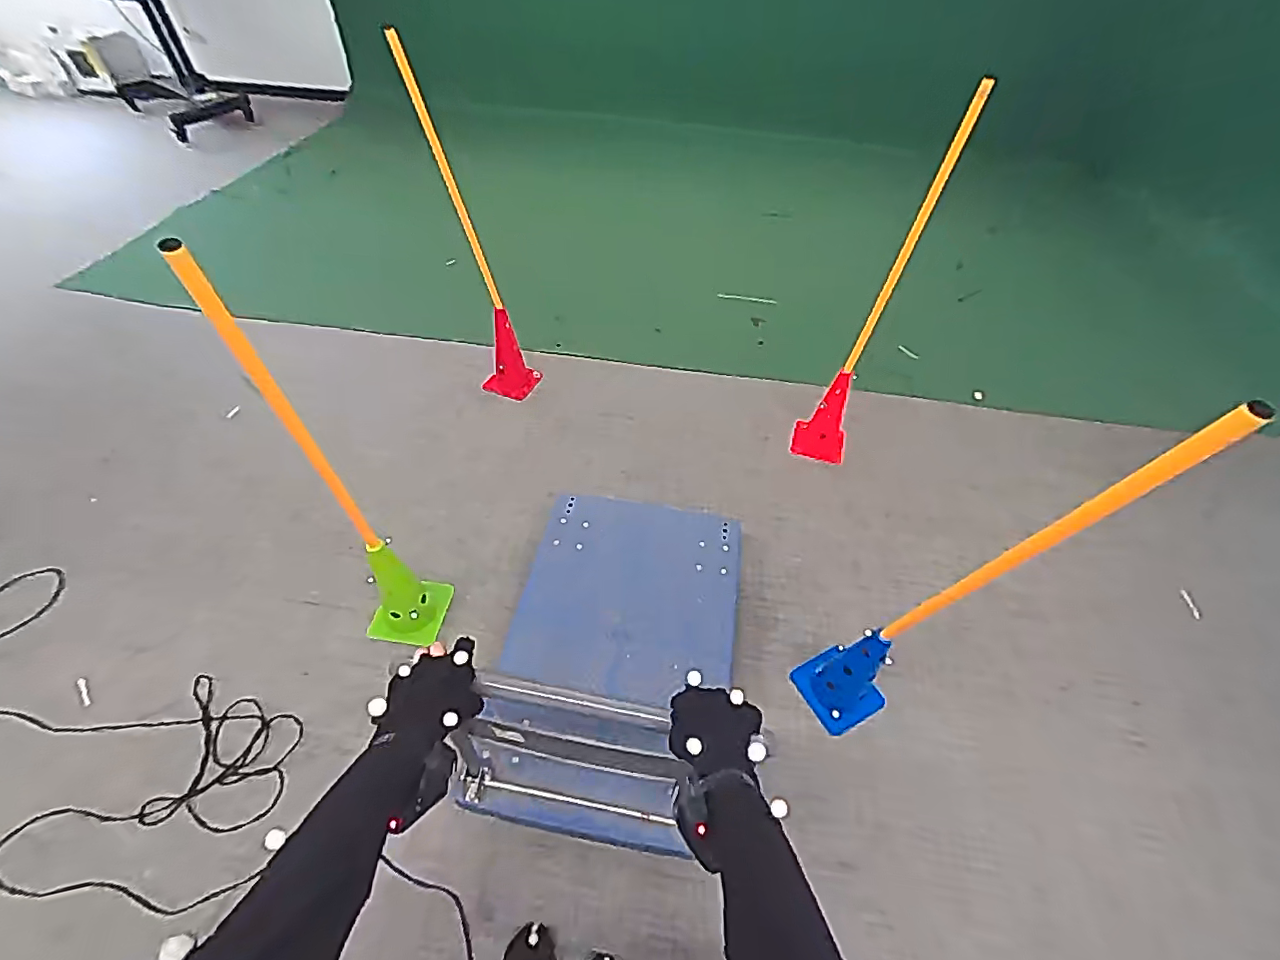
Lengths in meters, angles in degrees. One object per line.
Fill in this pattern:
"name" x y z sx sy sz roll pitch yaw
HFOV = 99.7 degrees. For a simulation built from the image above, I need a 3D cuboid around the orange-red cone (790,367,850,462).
"orange-red cone" 0.711 -0.267 2.013 0.198 0.360 0.199 16 51 12
